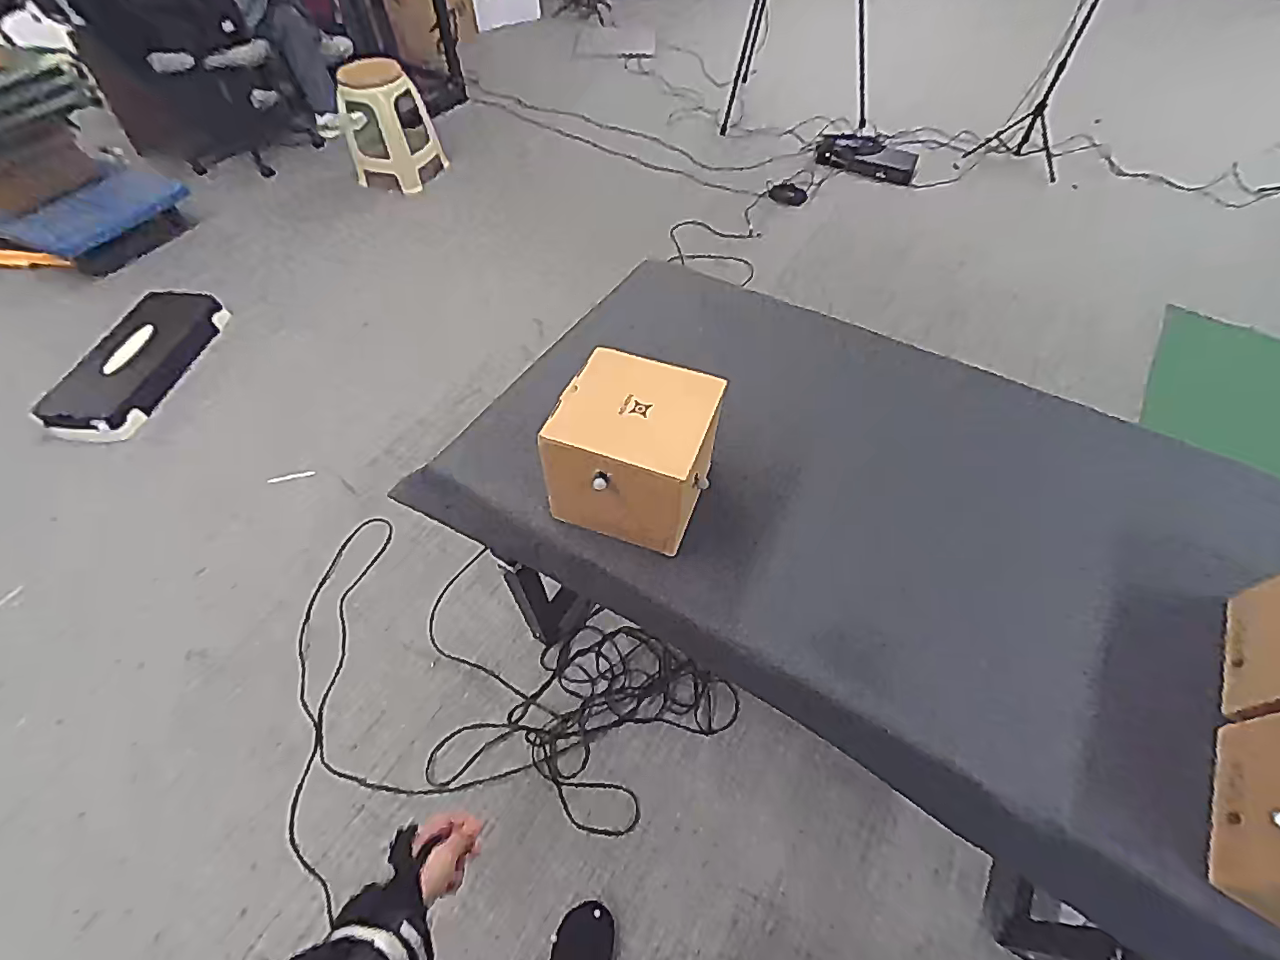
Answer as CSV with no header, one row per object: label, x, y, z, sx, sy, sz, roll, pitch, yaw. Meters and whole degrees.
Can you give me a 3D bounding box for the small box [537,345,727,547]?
small box,-0.005,-0.037,0.685,0.179,0.176,0.168,17,55,12
